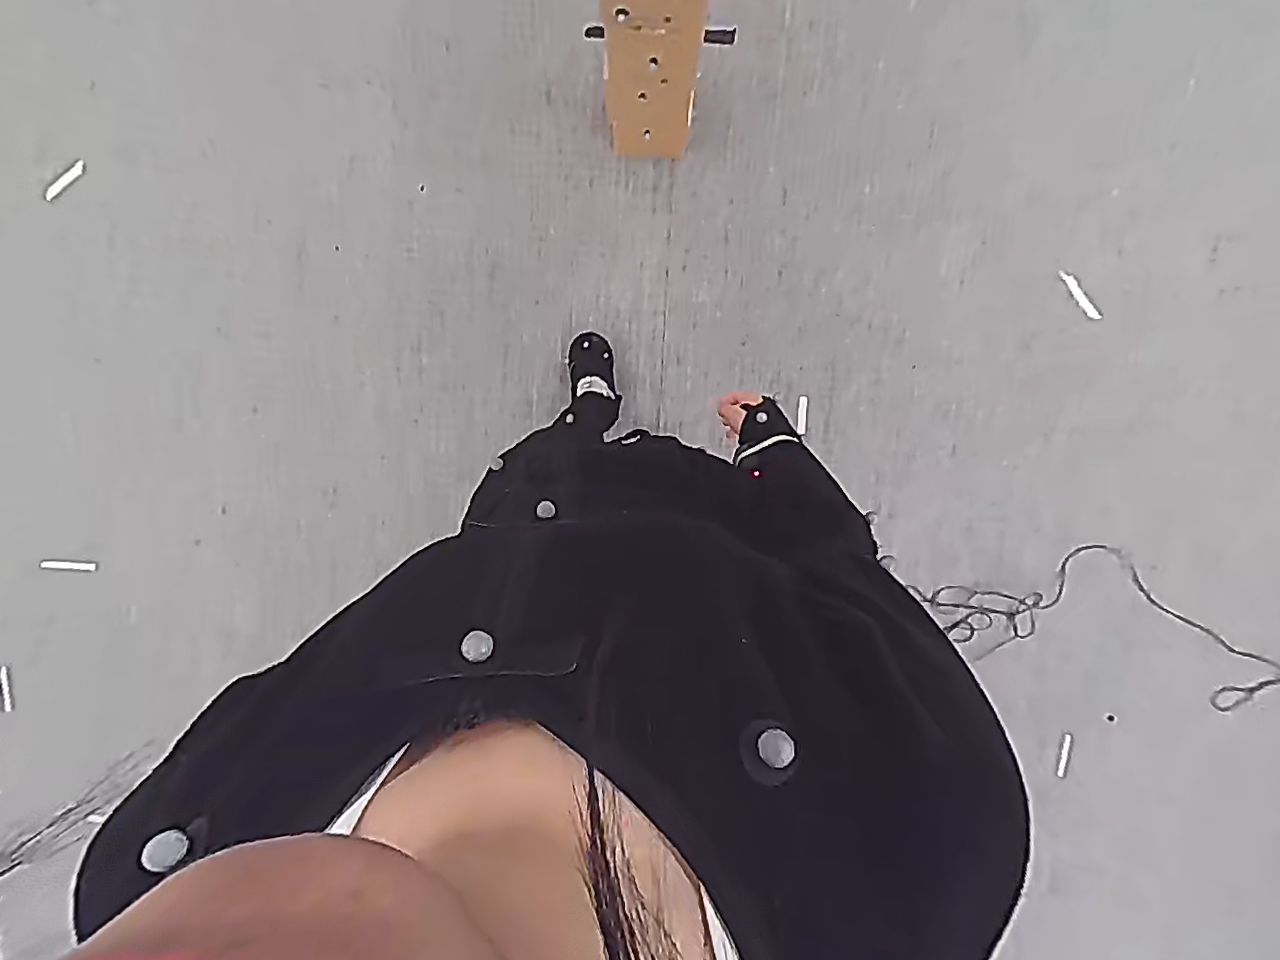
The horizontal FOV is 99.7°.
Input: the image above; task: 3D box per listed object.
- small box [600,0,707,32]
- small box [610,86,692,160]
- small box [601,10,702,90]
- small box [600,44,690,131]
[{"bbox_3d":[0.025,-0.792,0.775,0.168,0.176,0.179,4,98,0],"label":"small box"},{"bbox_3d":[0.025,-0.871,1.261,0.179,0.176,0.168,3,100,-1],"label":"small box"},{"bbox_3d":[0.028,-0.816,0.938,0.168,0.176,0.179,5,100,-1],"label":"small box"},{"bbox_3d":[0.018,-0.841,1.100,0.179,0.176,0.168,6,100,-1],"label":"small box"}]
